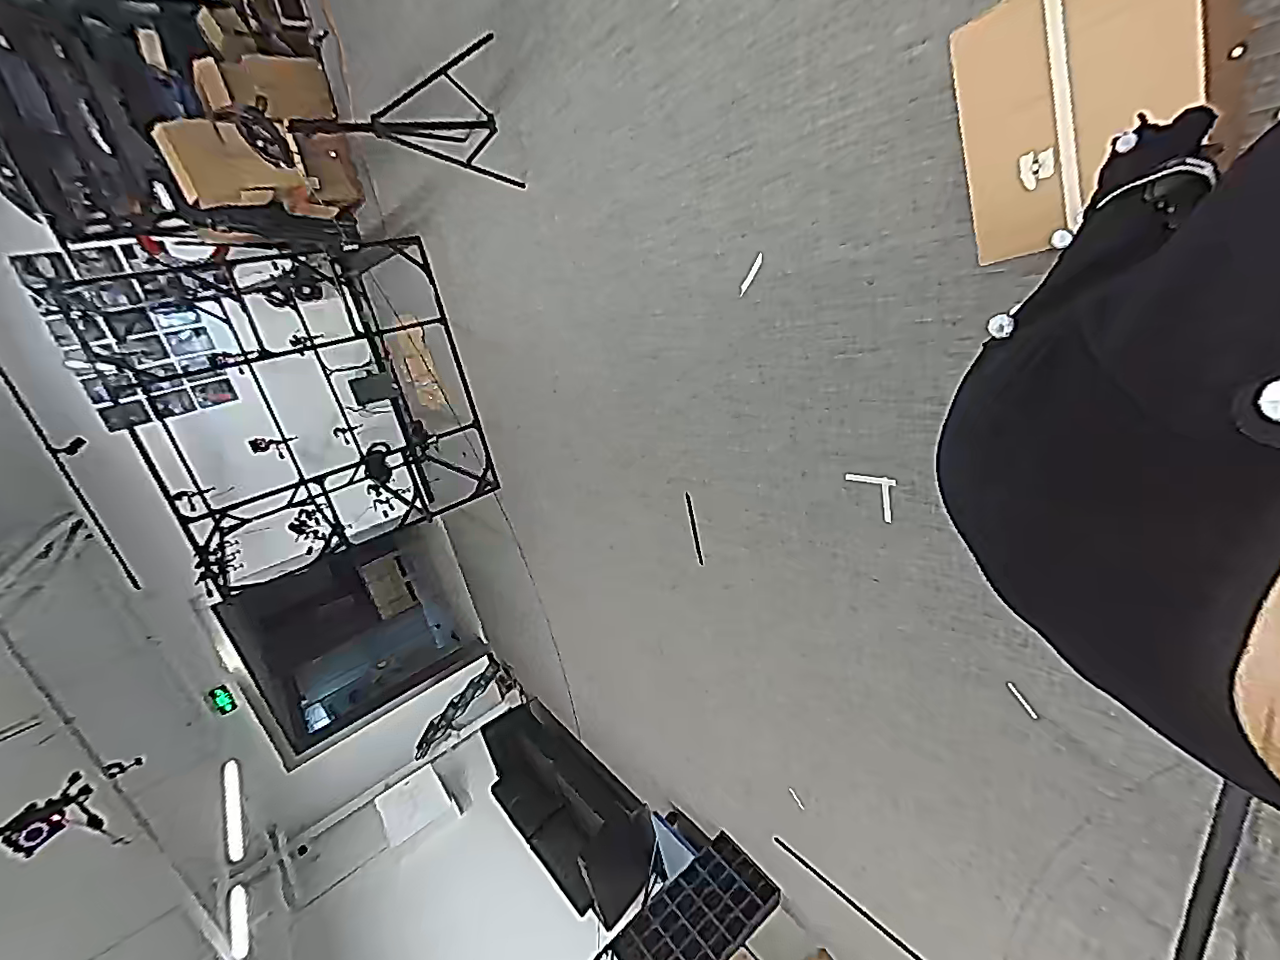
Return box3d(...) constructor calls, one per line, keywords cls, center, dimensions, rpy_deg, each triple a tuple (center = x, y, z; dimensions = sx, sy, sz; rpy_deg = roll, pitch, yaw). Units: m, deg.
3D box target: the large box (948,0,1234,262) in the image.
box3d(cls="large box", center=(0.809, -0.662, 0.967), dimensions=(0.320, 0.320, 0.408), rpy_deg=(4, 115, 55))
